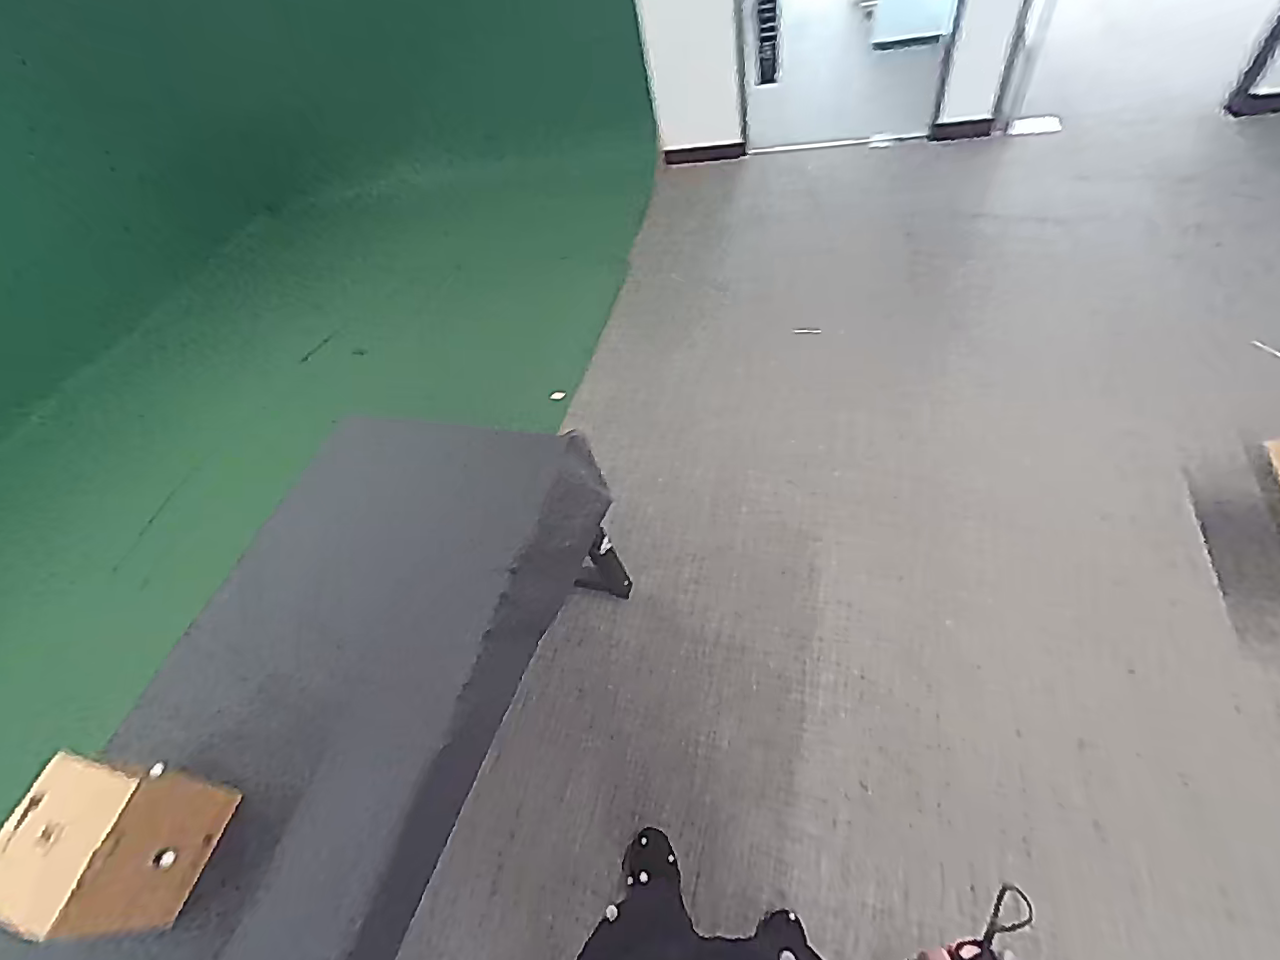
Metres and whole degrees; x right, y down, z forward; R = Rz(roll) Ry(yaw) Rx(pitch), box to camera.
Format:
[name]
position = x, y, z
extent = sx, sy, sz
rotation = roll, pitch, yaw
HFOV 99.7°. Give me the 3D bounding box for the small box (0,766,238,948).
[small box]
position = -0.719, 0.508, 0.747
extent = 0.179, 0.176, 0.168
rotation = 2, 57, 16
